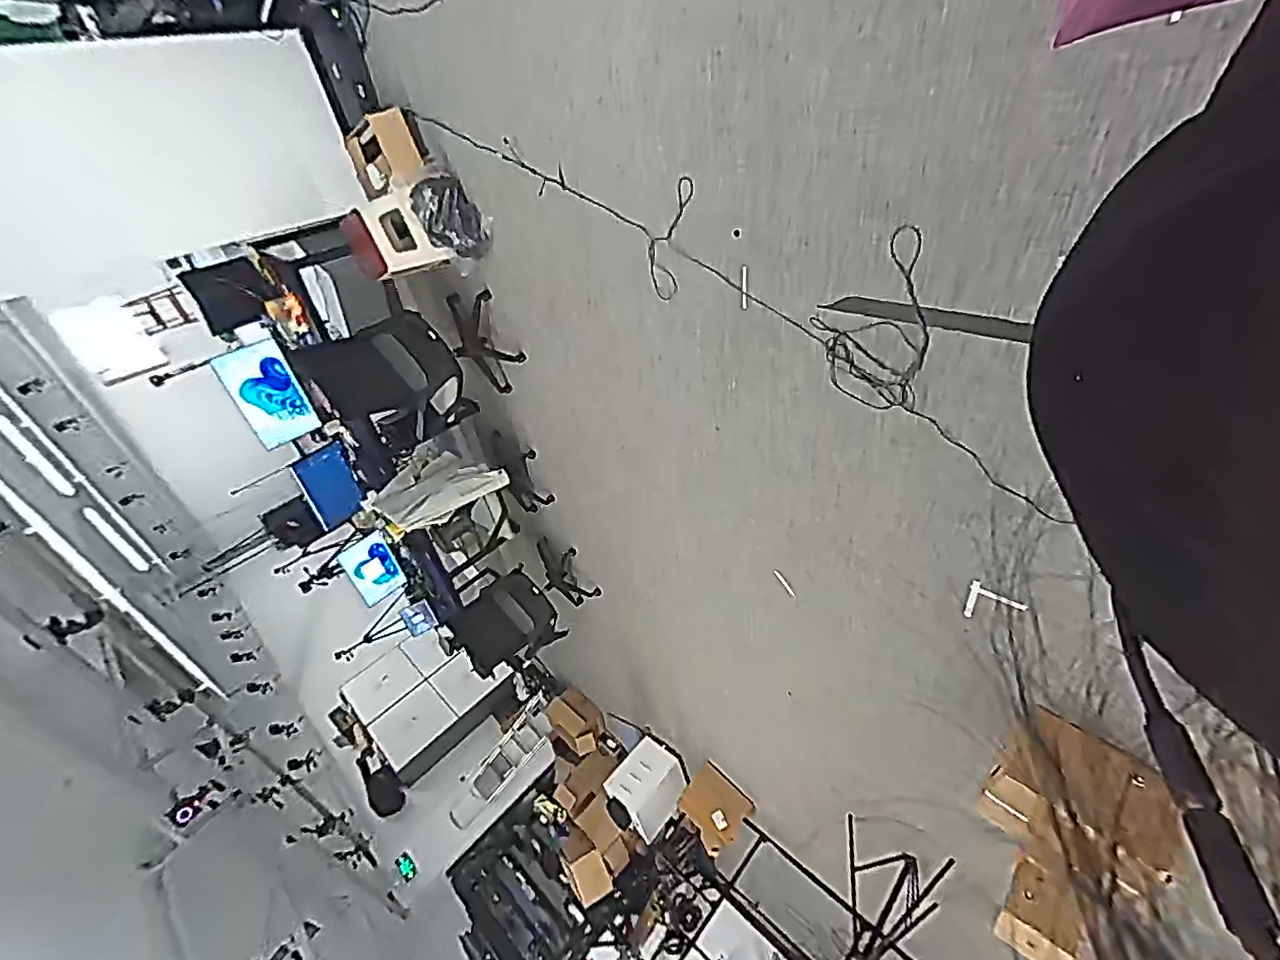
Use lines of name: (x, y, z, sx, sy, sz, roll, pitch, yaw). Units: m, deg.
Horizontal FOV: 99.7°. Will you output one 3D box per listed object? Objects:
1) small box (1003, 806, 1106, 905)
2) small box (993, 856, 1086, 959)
small box: (1.232, 1.119, 1.604, 0.179, 0.176, 0.168, 32, 142, 31)
small box: (1.127, 1.216, 1.525, 0.168, 0.176, 0.179, 20, 136, 43)
